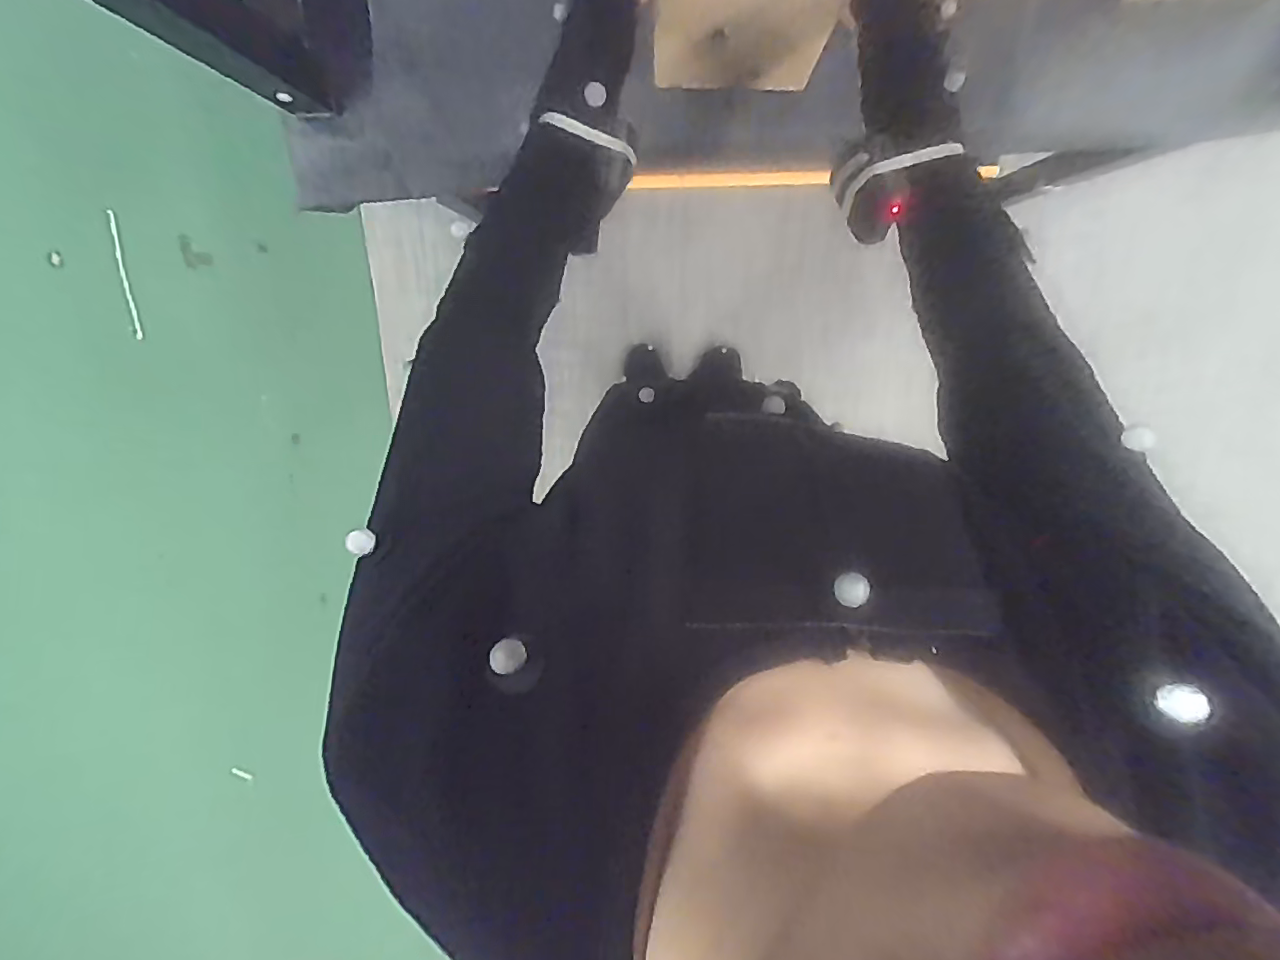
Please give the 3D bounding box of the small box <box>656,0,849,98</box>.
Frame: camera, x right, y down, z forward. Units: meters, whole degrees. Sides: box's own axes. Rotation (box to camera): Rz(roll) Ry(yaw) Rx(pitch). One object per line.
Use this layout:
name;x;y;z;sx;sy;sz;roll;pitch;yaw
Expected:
small box;0.103;-0.498;0.515;0.168;0.176;0.179;2;99;2
